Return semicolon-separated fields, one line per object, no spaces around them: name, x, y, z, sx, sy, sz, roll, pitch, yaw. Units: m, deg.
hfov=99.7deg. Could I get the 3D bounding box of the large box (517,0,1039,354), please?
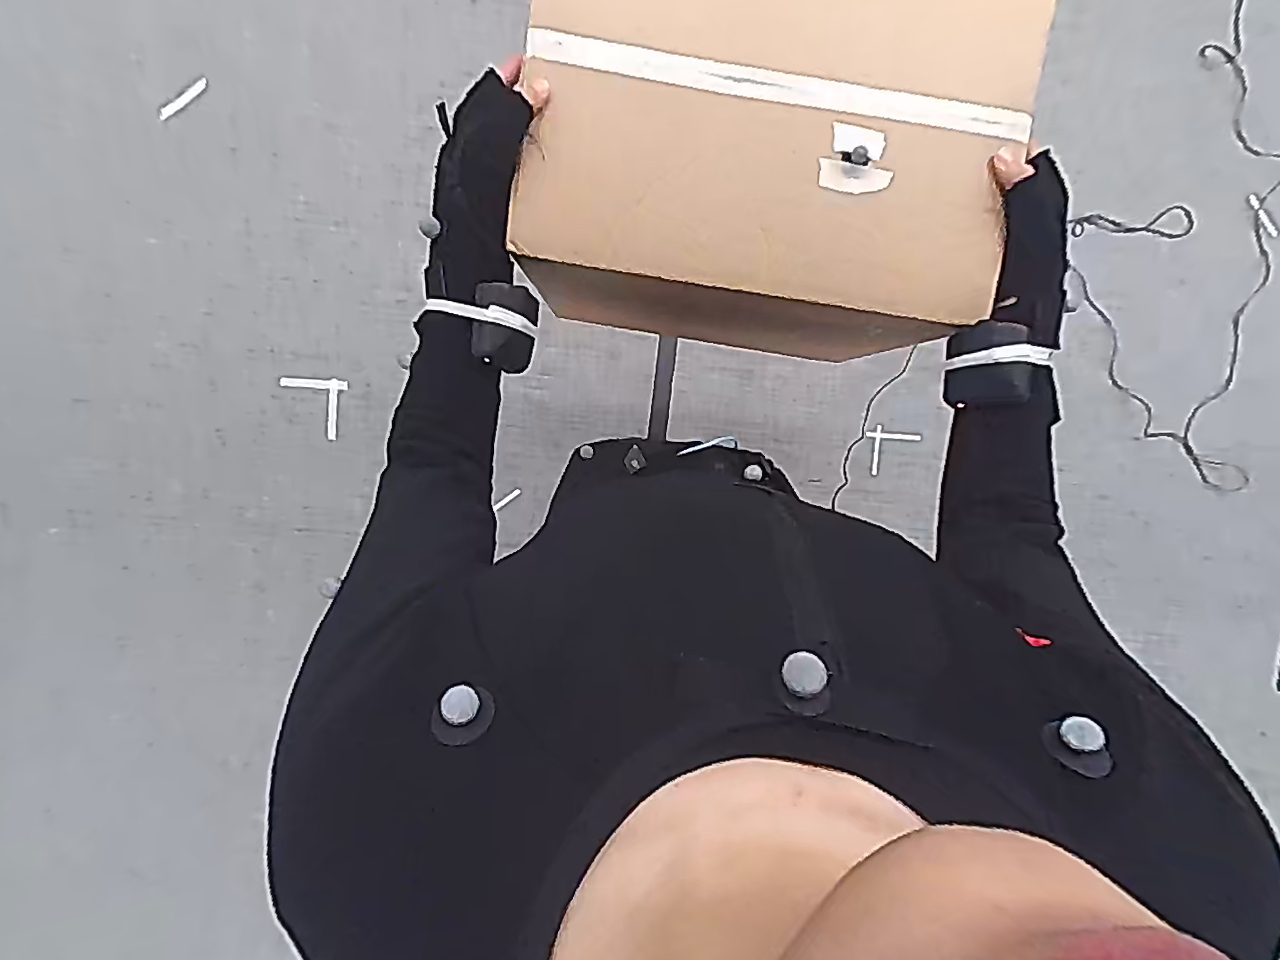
large box;0.104;-0.330;0.585;0.408;0.320;0.320;8;98;-3
